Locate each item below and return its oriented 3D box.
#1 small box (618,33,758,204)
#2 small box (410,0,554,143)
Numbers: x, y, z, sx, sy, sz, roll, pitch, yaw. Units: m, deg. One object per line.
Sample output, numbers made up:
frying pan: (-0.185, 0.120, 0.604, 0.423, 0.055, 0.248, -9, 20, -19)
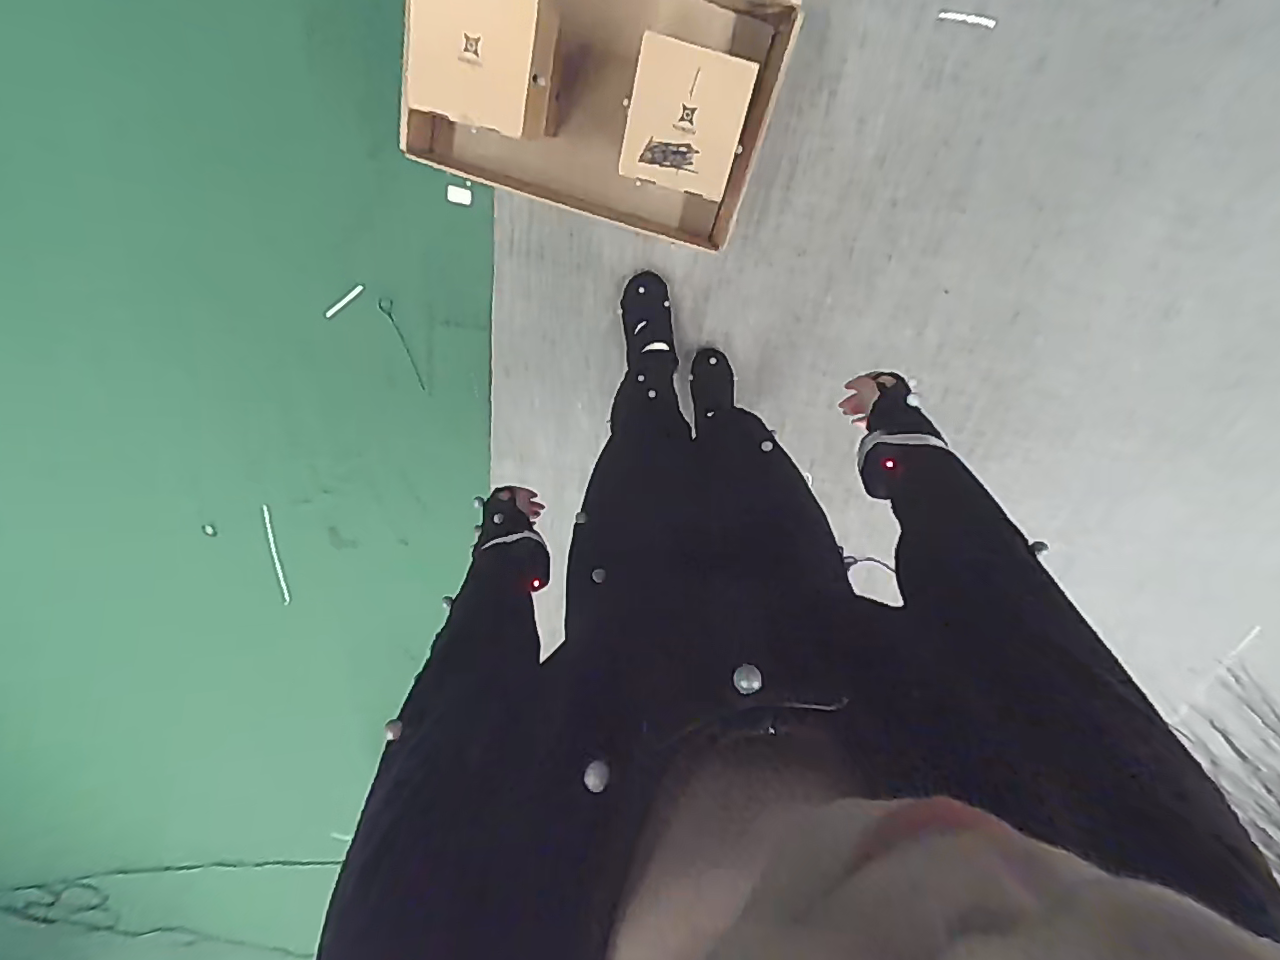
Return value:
small box: (0.068, -0.552, 0.847, 0.168, 0.176, 0.179, 12, 119, -7)
small box: (-0.228, -0.626, 0.807, 0.168, 0.176, 0.179, 13, 121, -8)
